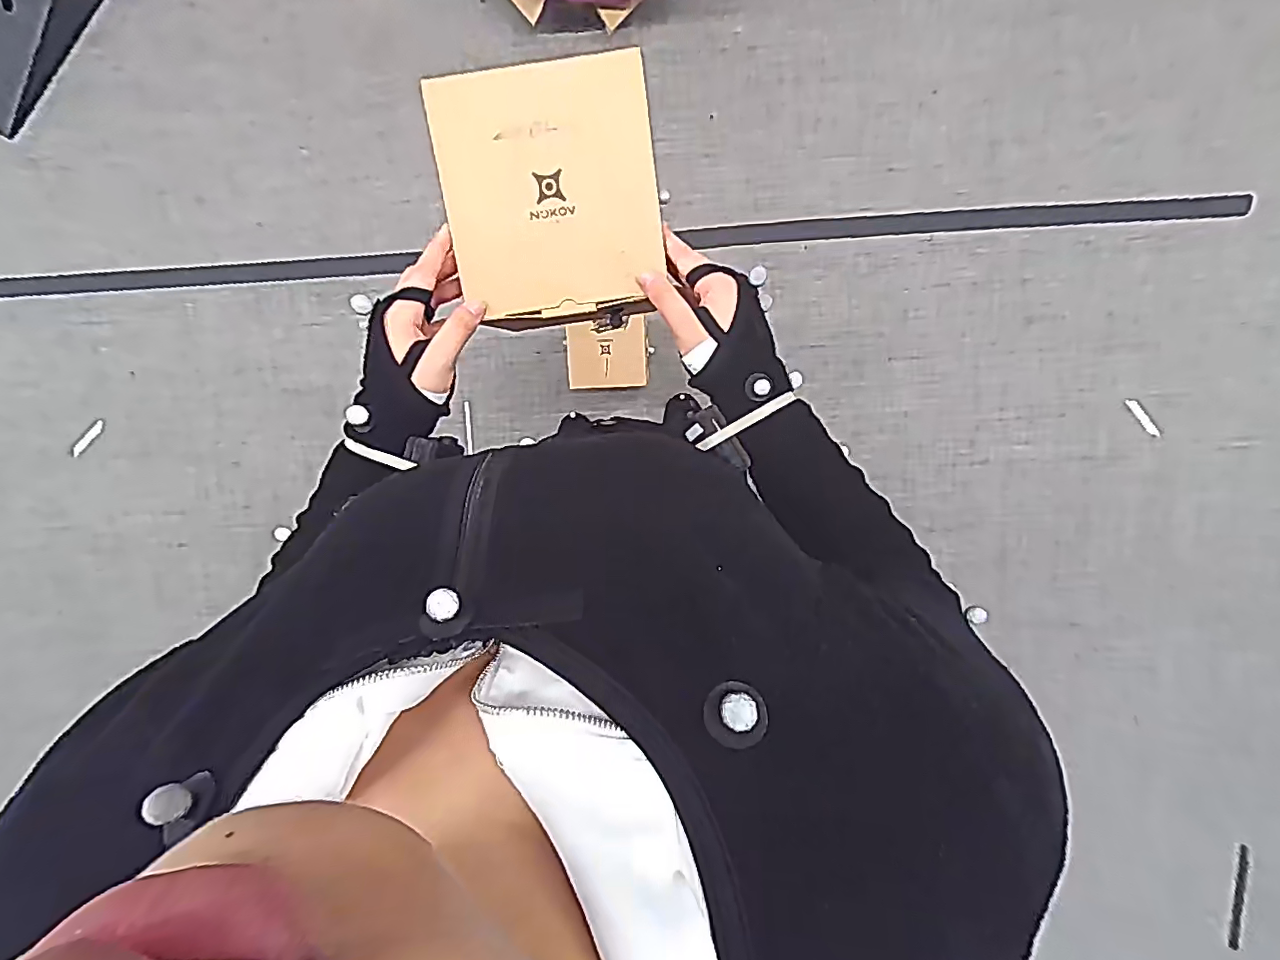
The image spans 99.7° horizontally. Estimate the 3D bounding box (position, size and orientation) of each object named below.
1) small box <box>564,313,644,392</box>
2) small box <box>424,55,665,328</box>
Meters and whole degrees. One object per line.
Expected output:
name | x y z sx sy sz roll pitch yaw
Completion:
small box | -0.076 -0.288 1.205 0.168 0.176 0.179 -2 100 1
small box | -0.071 -0.238 0.496 0.168 0.176 0.179 -8 103 0
